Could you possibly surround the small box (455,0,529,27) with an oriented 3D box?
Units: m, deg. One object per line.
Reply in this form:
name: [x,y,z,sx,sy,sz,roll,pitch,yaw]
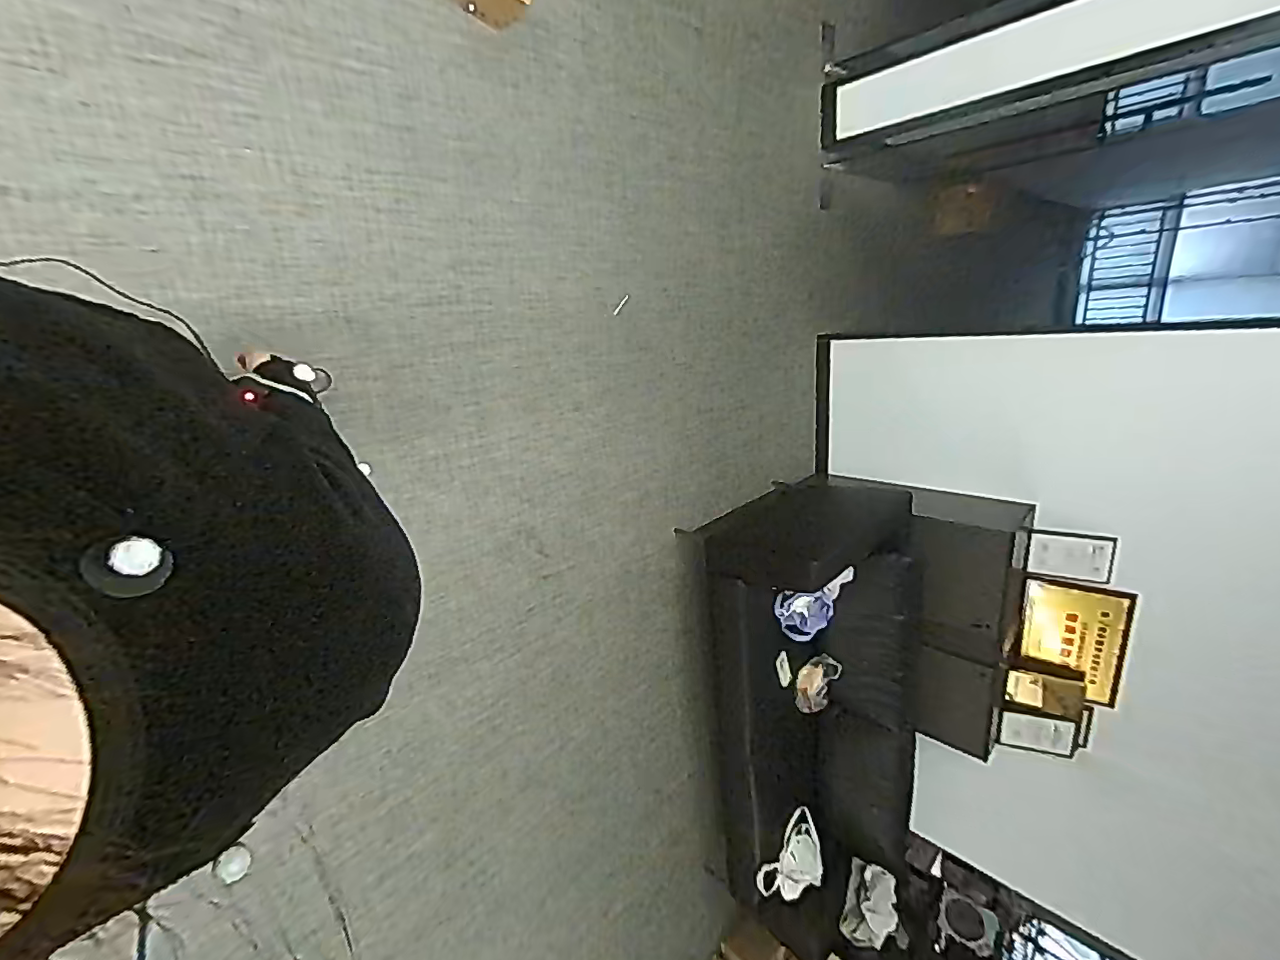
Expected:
small box: [-0.391,-1.333,1.389,0.168,0.176,0.179,1,99,-45]
